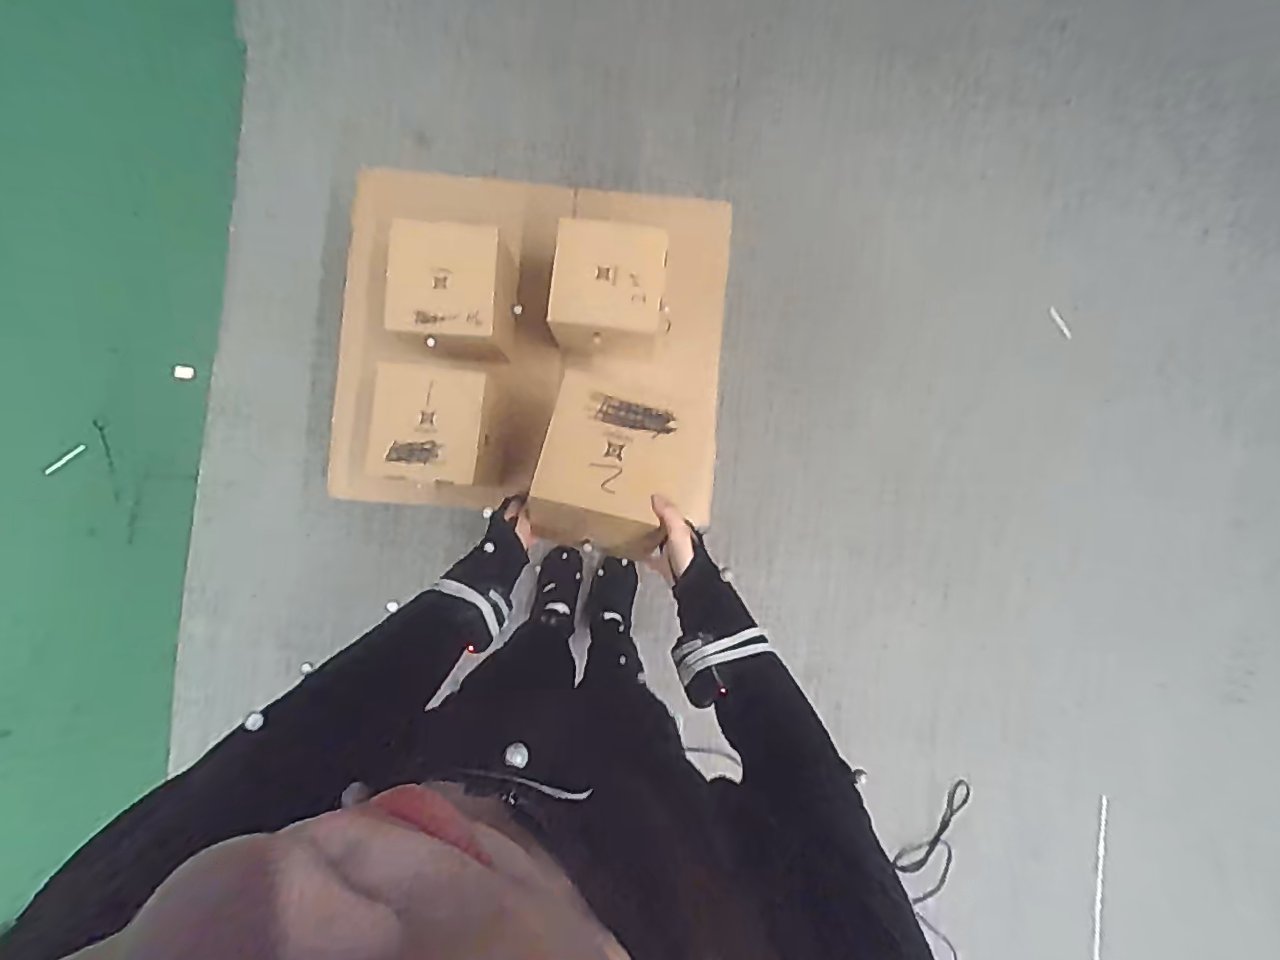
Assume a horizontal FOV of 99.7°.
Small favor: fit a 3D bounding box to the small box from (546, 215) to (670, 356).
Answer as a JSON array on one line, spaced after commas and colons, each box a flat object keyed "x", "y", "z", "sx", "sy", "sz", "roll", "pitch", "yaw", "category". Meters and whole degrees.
[{"x": -0.049, "y": -0.317, "z": 0.912, "sx": 0.179, "sy": 0.176, "sz": 0.168, "roll": 7, "pitch": 89, "yaw": 0, "category": "small box"}]

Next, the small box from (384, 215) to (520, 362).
[{"x": -0.302, "y": -0.310, "z": 0.903, "sx": 0.168, "sy": 0.176, "sz": 0.179, "roll": 4, "pitch": 87, "yaw": 0, "category": "small box"}]

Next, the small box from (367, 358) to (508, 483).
[{"x": -0.324, "y": -0.089, "z": 0.898, "sx": 0.168, "sy": 0.176, "sz": 0.179, "roll": 6, "pitch": 88, "yaw": -1, "category": "small box"}]
